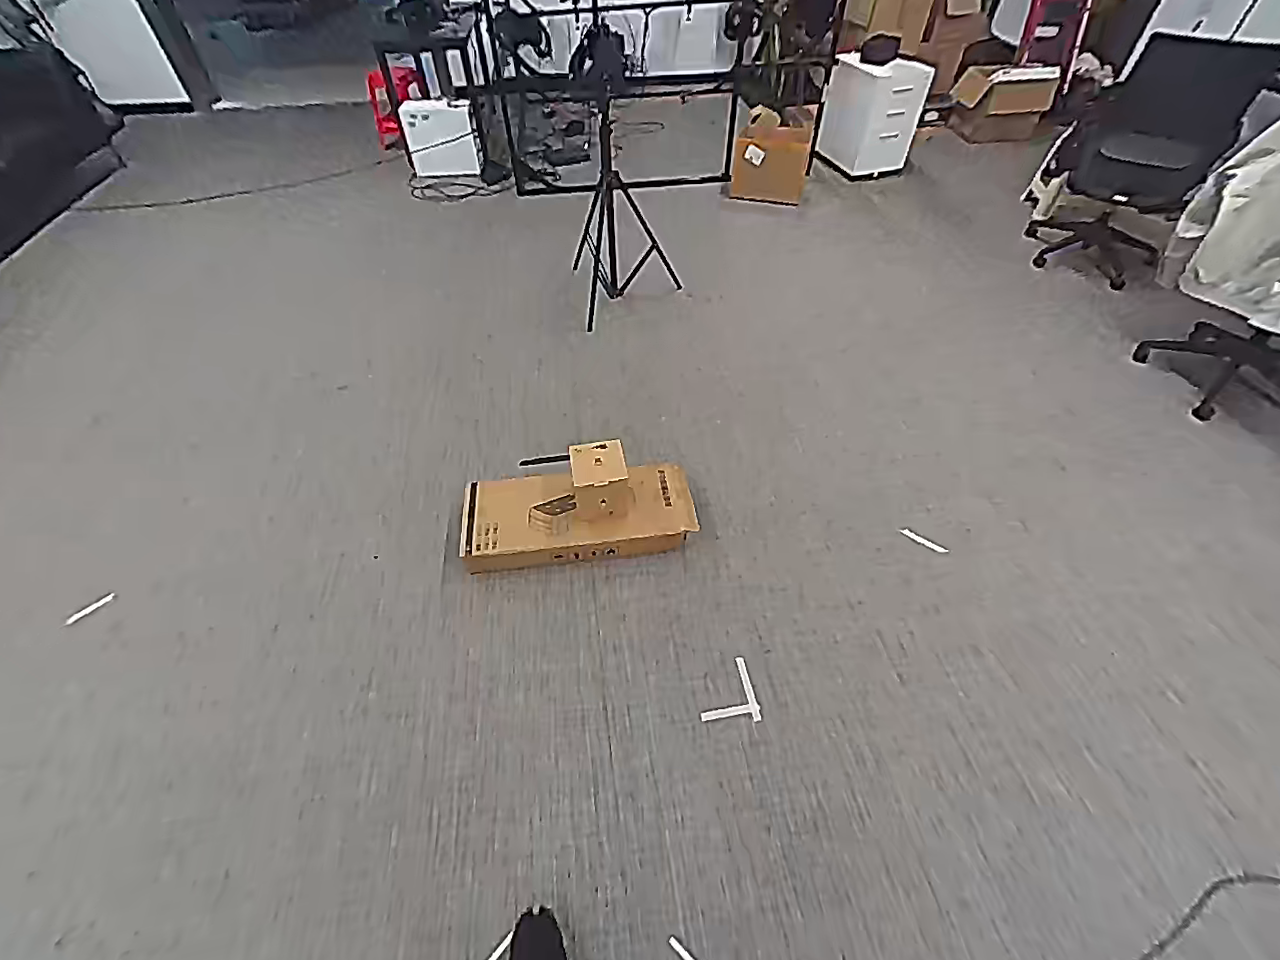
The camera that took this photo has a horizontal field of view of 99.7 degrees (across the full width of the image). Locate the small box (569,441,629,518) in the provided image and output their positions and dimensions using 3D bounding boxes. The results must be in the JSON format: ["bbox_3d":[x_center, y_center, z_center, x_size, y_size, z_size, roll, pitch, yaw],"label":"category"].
[{"bbox_3d":[-0.129,0.004,1.712,0.168,0.176,0.179,-8,50,-6],"label":"small box"}]
